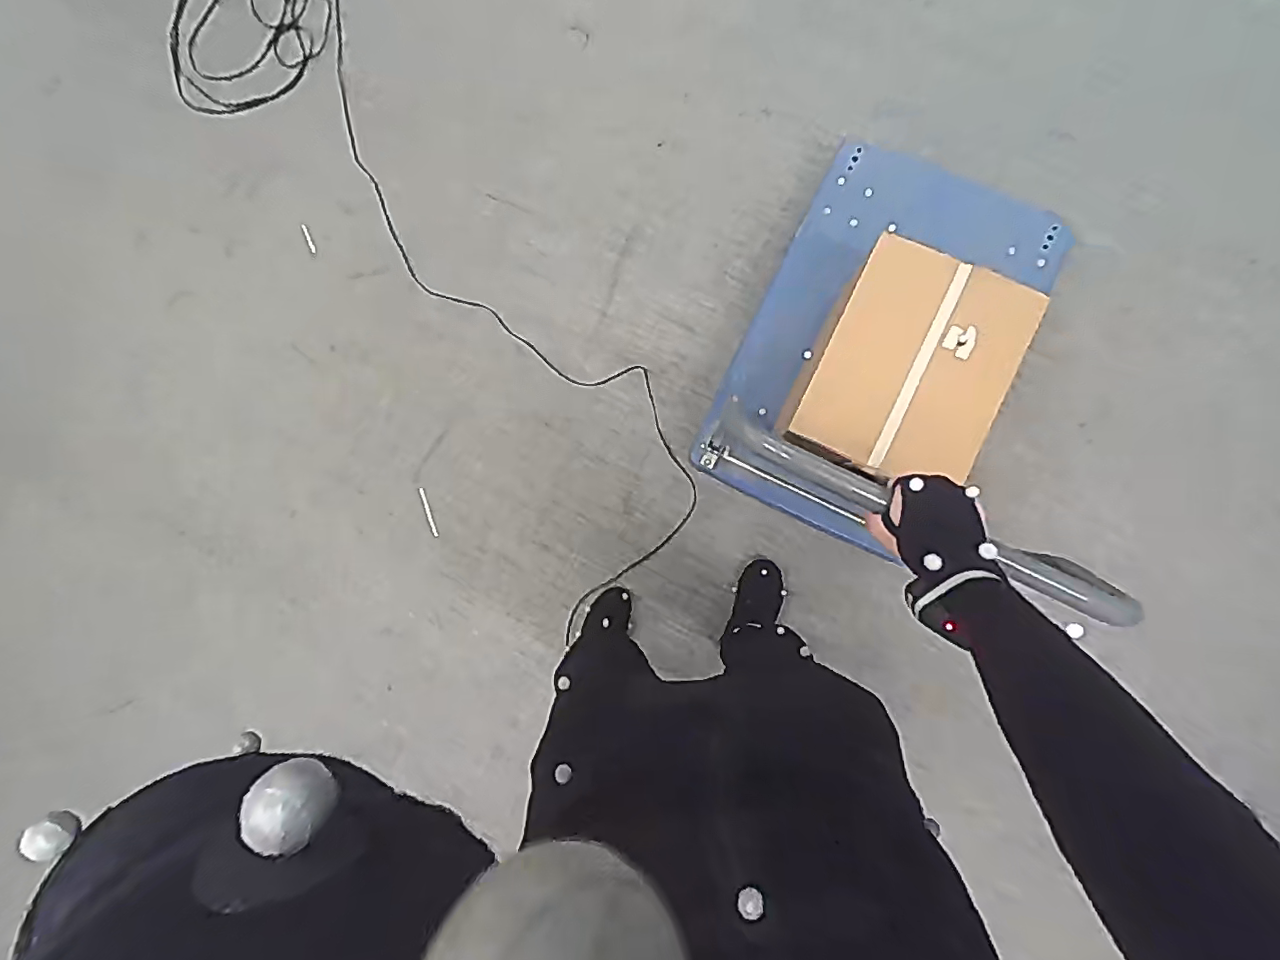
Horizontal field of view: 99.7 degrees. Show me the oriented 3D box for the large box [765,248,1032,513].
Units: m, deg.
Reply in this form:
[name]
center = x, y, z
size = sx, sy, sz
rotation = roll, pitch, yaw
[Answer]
[large box]
center = 0.493, -0.174, 1.116
size = 0.320, 0.320, 0.408
rotation = 25, 88, 6
